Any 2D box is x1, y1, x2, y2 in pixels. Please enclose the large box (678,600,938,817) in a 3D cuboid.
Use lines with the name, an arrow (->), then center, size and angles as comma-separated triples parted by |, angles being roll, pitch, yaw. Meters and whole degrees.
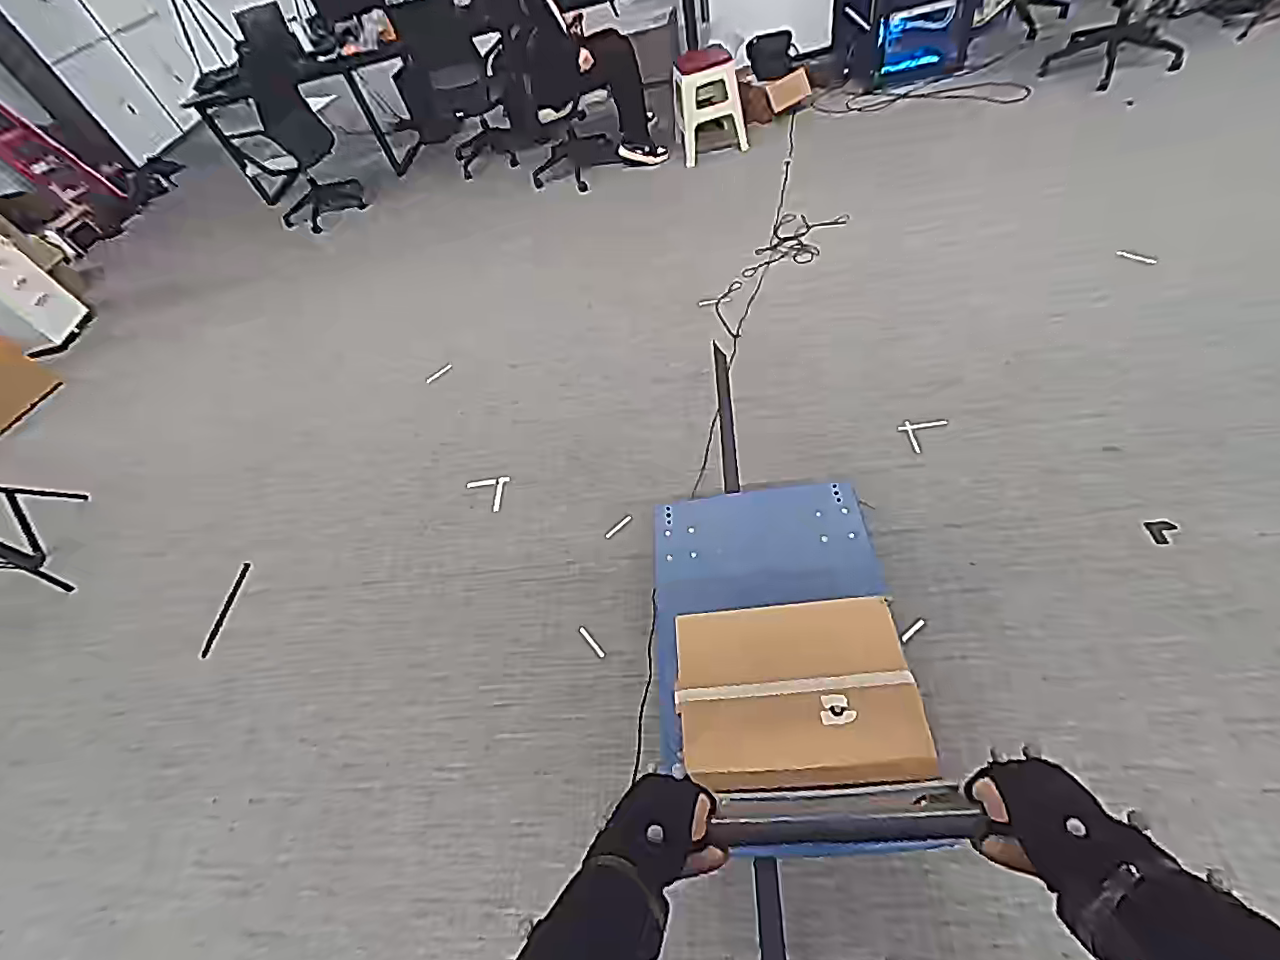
large box -> 0.303, 0.469, 1.088 | 0.408, 0.320, 0.320 | -8, 52, 8
